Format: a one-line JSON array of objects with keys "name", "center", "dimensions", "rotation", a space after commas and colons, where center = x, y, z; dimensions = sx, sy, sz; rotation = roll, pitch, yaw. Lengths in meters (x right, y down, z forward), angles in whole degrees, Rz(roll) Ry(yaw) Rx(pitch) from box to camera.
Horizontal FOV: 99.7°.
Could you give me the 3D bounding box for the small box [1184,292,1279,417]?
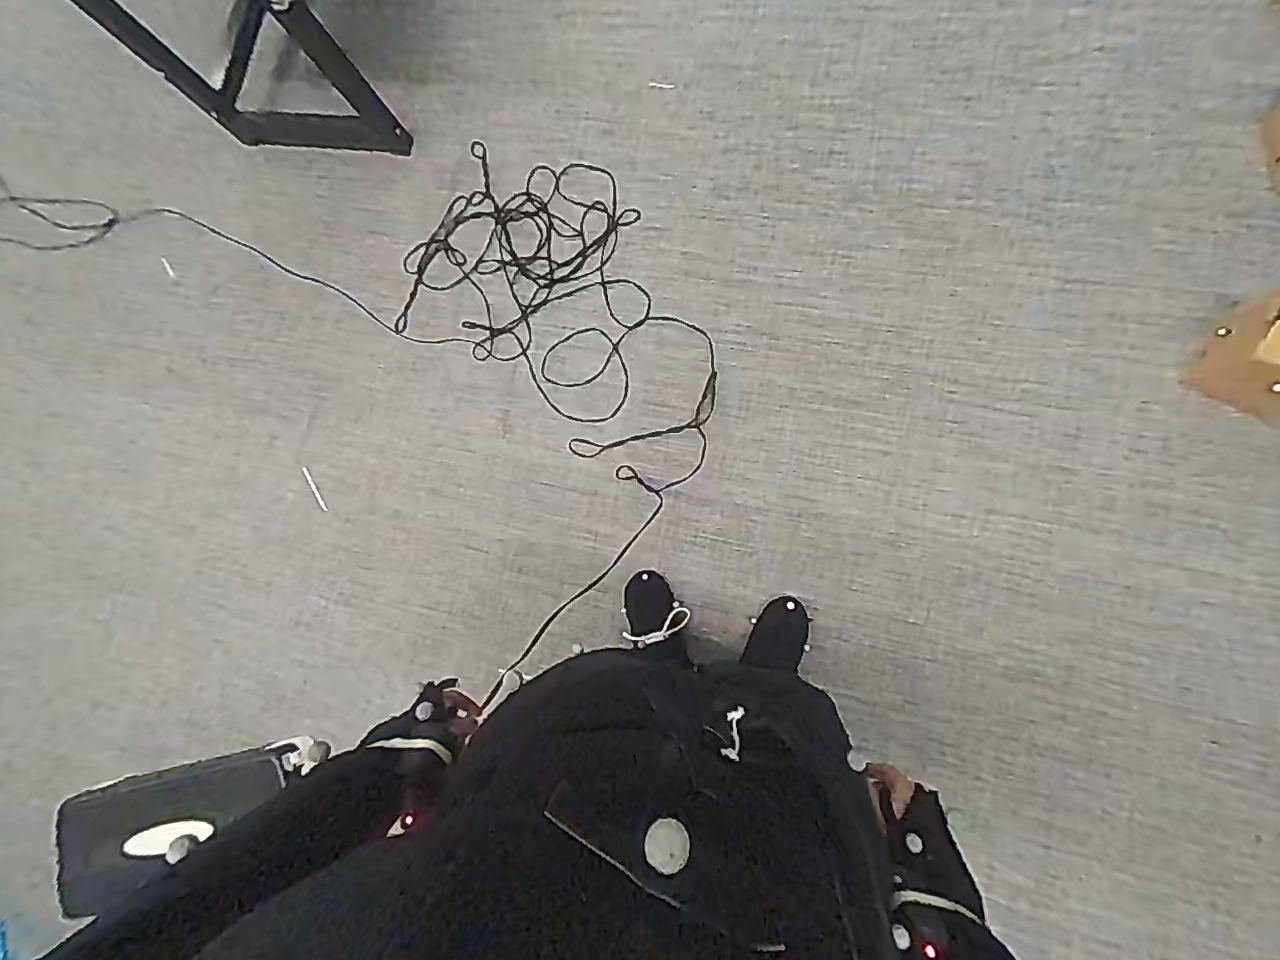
[{"name": "small box", "center": [1.185, -0.230, 0.990], "dimensions": [0.179, 0.176, 0.168], "rotation": [31, 89, 14]}]
